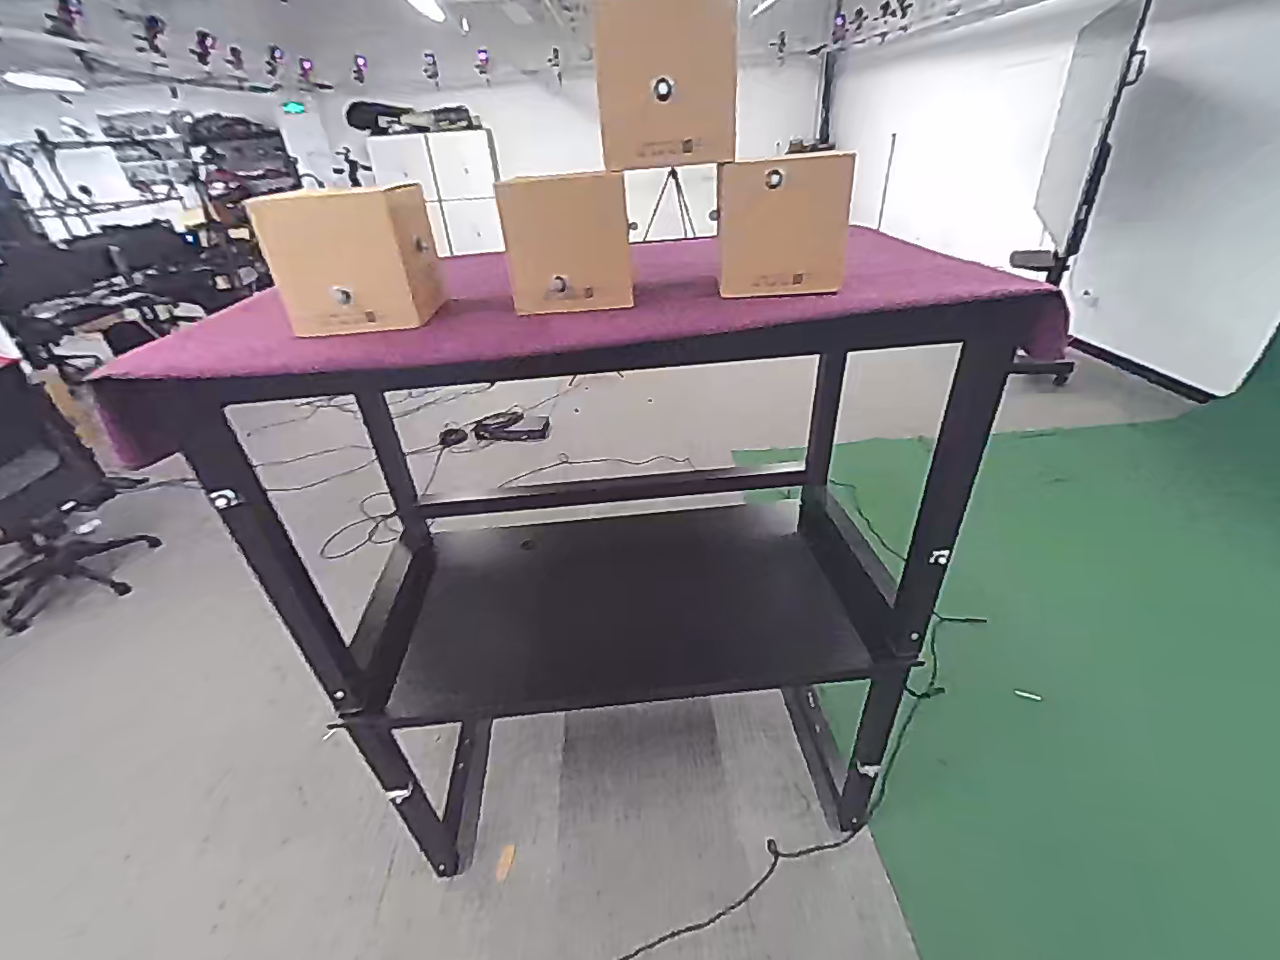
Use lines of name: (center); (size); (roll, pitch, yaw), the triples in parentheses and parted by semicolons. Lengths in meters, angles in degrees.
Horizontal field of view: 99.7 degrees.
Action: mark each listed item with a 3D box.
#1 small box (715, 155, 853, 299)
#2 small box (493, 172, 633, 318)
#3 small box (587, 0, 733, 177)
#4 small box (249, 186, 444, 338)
small box: (0.194, -0.366, 0.783); (0.168, 0.176, 0.179); (-2, 31, 6)
small box: (-0.099, -0.341, 0.781); (0.168, 0.176, 0.179); (-4, 32, 1)
small box: (0.028, -0.496, 0.701); (0.168, 0.176, 0.179); (-4, 31, 1)
small box: (-0.387, -0.306, 0.754); (0.168, 0.176, 0.179); (-6, 32, -2)
